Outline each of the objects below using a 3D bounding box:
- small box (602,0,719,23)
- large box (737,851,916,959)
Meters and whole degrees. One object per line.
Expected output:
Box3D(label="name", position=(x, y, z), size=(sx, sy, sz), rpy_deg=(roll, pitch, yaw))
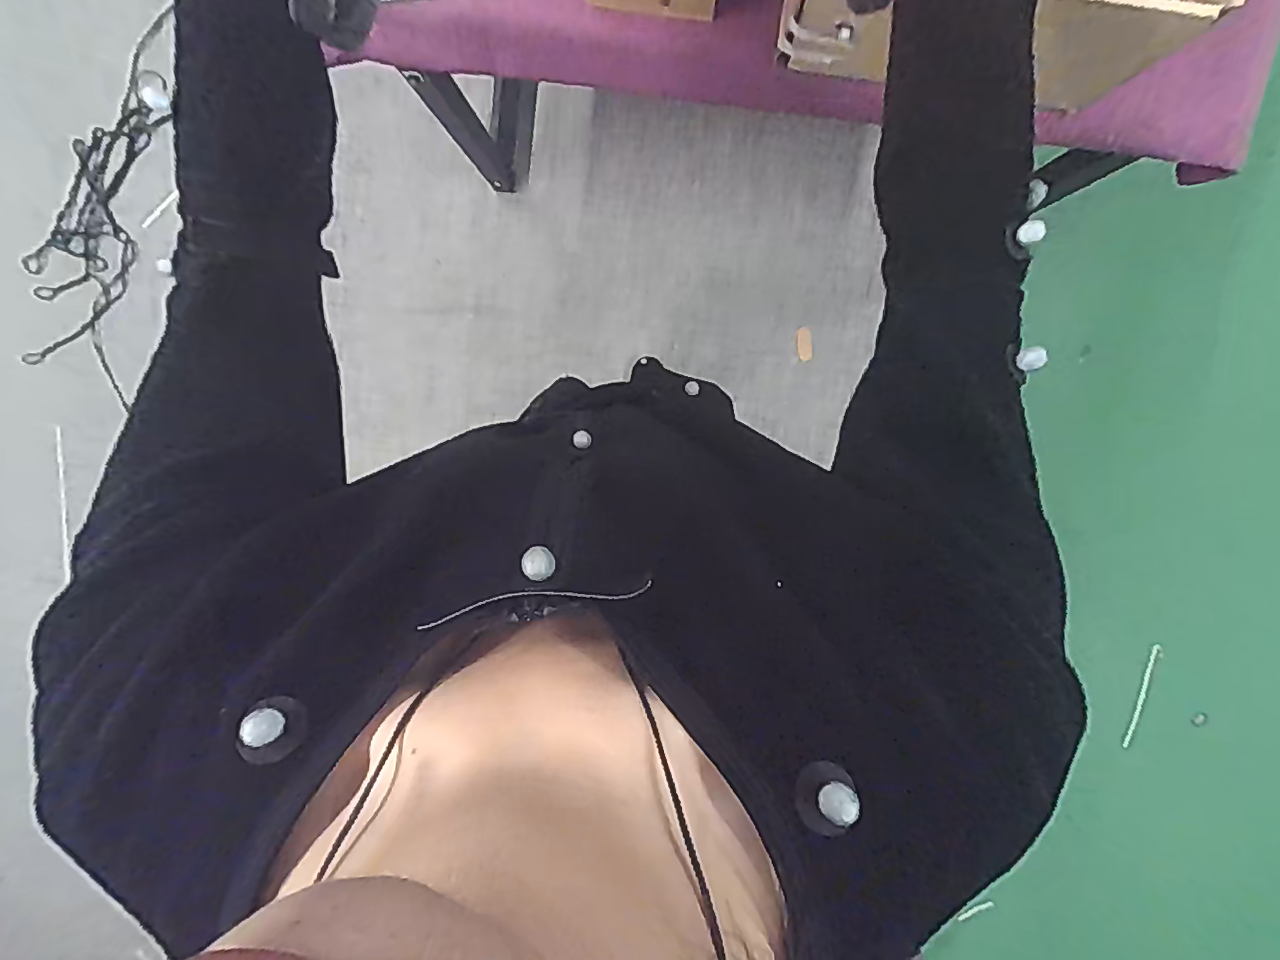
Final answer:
Box3D(label="small box", position=(0.024, -0.660, 0.597), size=(0.168, 0.176, 0.179), rpy_deg=(10, 97, 1))
Box3D(label="large box", position=(0.506, 1.310, 1.511), size=(0.408, 0.320, 0.320), rpy_deg=(-6, 98, 2))
